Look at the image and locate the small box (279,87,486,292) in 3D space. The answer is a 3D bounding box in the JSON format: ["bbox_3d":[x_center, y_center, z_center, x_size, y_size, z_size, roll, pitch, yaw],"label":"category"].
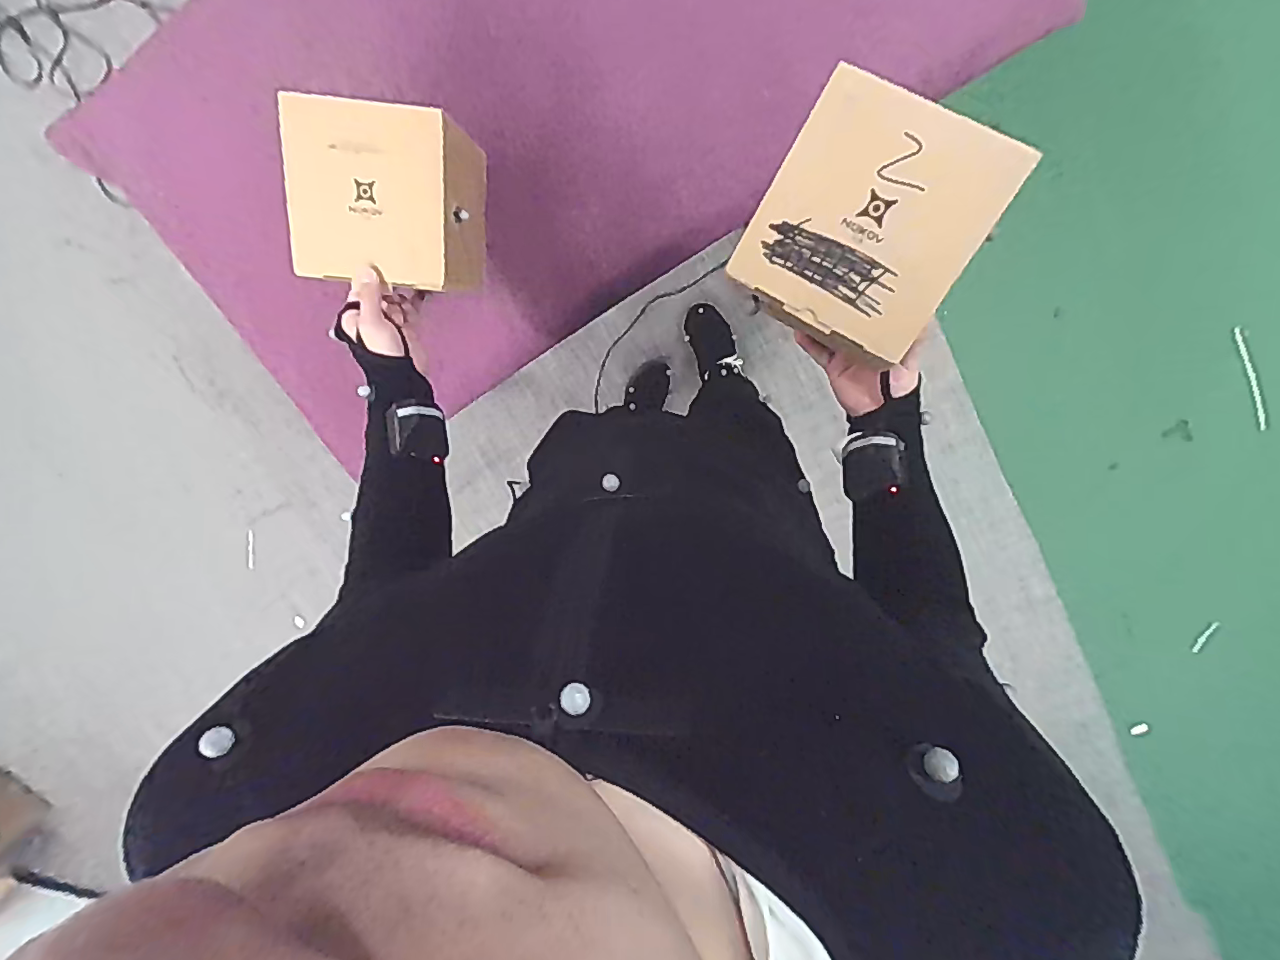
[{"bbox_3d":[-0.286,-0.322,0.639,0.168,0.176,0.179,6,107,-2],"label":"small box"}]
